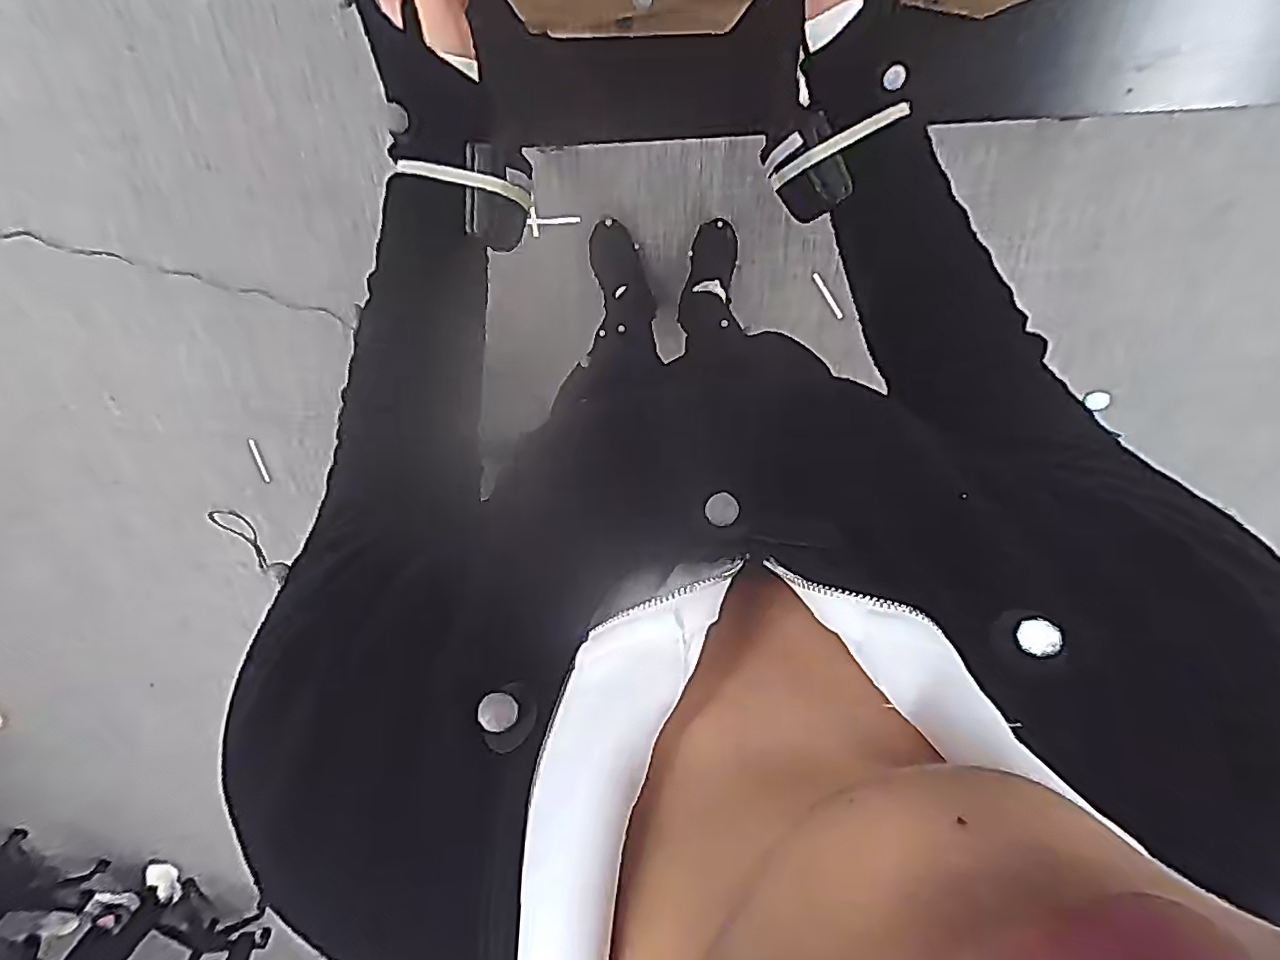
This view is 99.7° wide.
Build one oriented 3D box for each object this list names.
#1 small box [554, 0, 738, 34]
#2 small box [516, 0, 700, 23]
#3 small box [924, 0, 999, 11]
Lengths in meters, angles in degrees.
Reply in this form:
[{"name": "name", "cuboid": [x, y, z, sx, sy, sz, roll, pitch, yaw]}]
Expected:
[{"name": "small box", "cuboid": [-0.001, -0.465, 0.414, 0.179, 0.176, 0.168, -2, 120, 0]}, {"name": "small box", "cuboid": [-0.003, -0.369, 0.279, 0.179, 0.176, 0.168, -7, 119, 3]}, {"name": "small box", "cuboid": [0.260, -0.492, 0.405, 0.168, 0.176, 0.179, 6, 119, -5]}]
